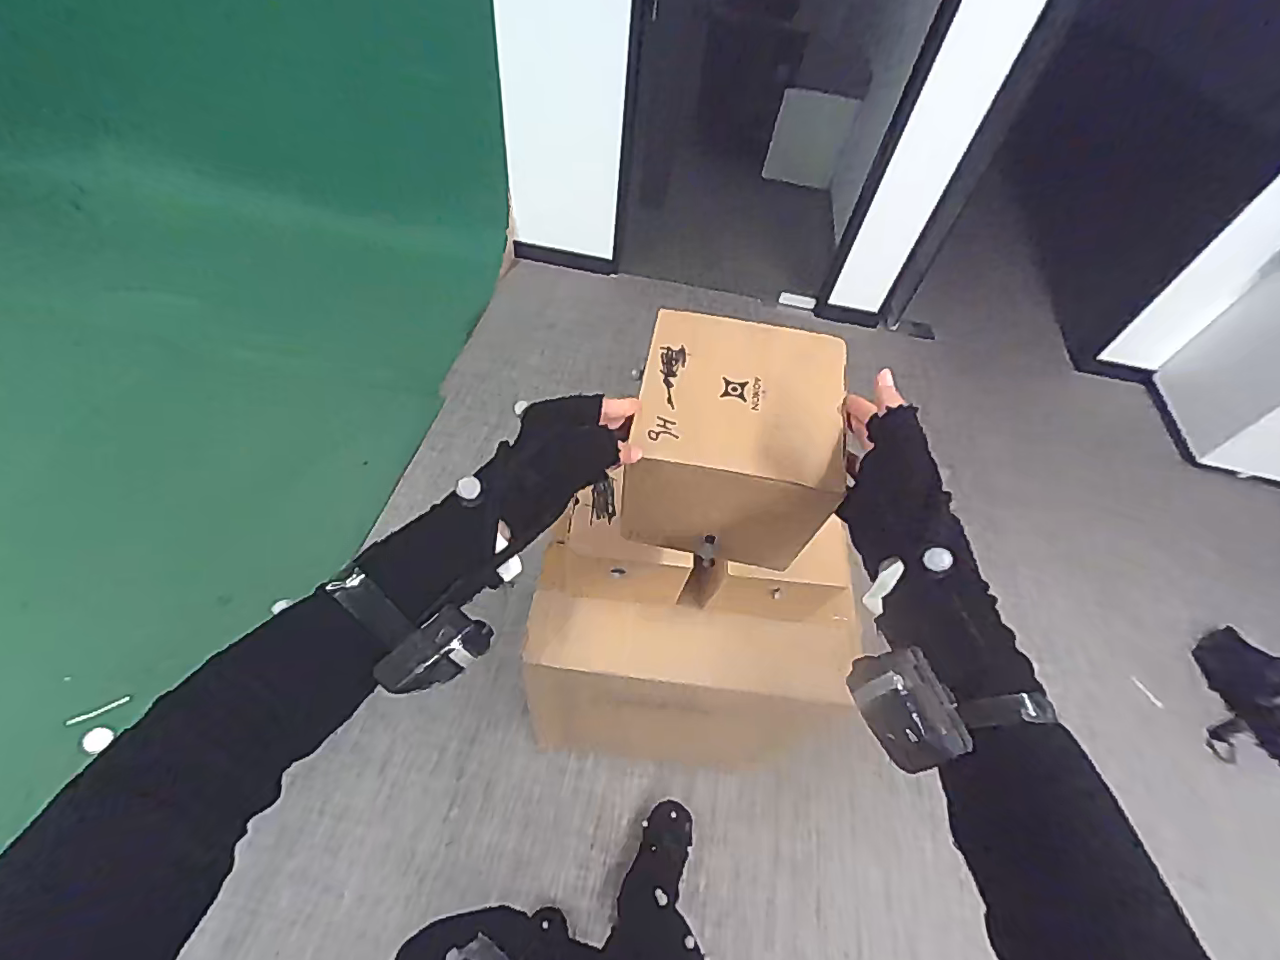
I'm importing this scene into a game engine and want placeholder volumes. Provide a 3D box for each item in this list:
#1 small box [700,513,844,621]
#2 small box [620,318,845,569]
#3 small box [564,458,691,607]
[{"bbox_3d":[0.194,0.116,0.852,0.179,0.176,0.168,7,59,-5],"label":"small box"},{"bbox_3d":[0.083,-0.027,0.533,0.179,0.176,0.168,11,58,2],"label":"small box"},{"bbox_3d":[-0.018,0.088,0.841,0.179,0.176,0.168,7,59,-3],"label":"small box"}]
